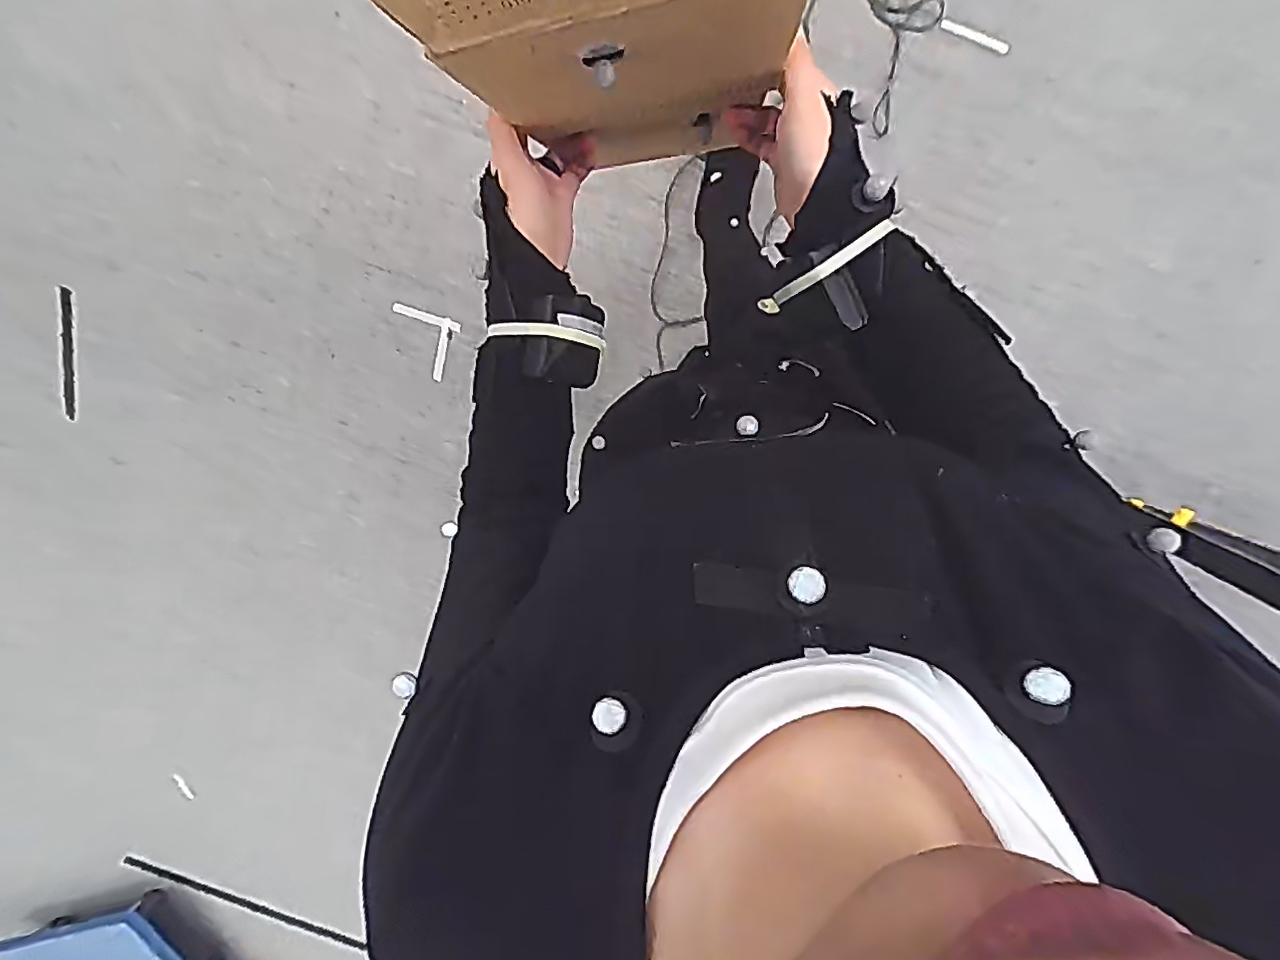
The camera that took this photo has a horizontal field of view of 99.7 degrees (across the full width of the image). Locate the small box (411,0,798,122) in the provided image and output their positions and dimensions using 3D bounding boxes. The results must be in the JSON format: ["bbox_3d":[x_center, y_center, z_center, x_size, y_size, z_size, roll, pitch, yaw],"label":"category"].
[{"bbox_3d":[-0.012,-0.302,0.266,0.179,0.176,0.168,-6,110,9],"label":"small box"}]
